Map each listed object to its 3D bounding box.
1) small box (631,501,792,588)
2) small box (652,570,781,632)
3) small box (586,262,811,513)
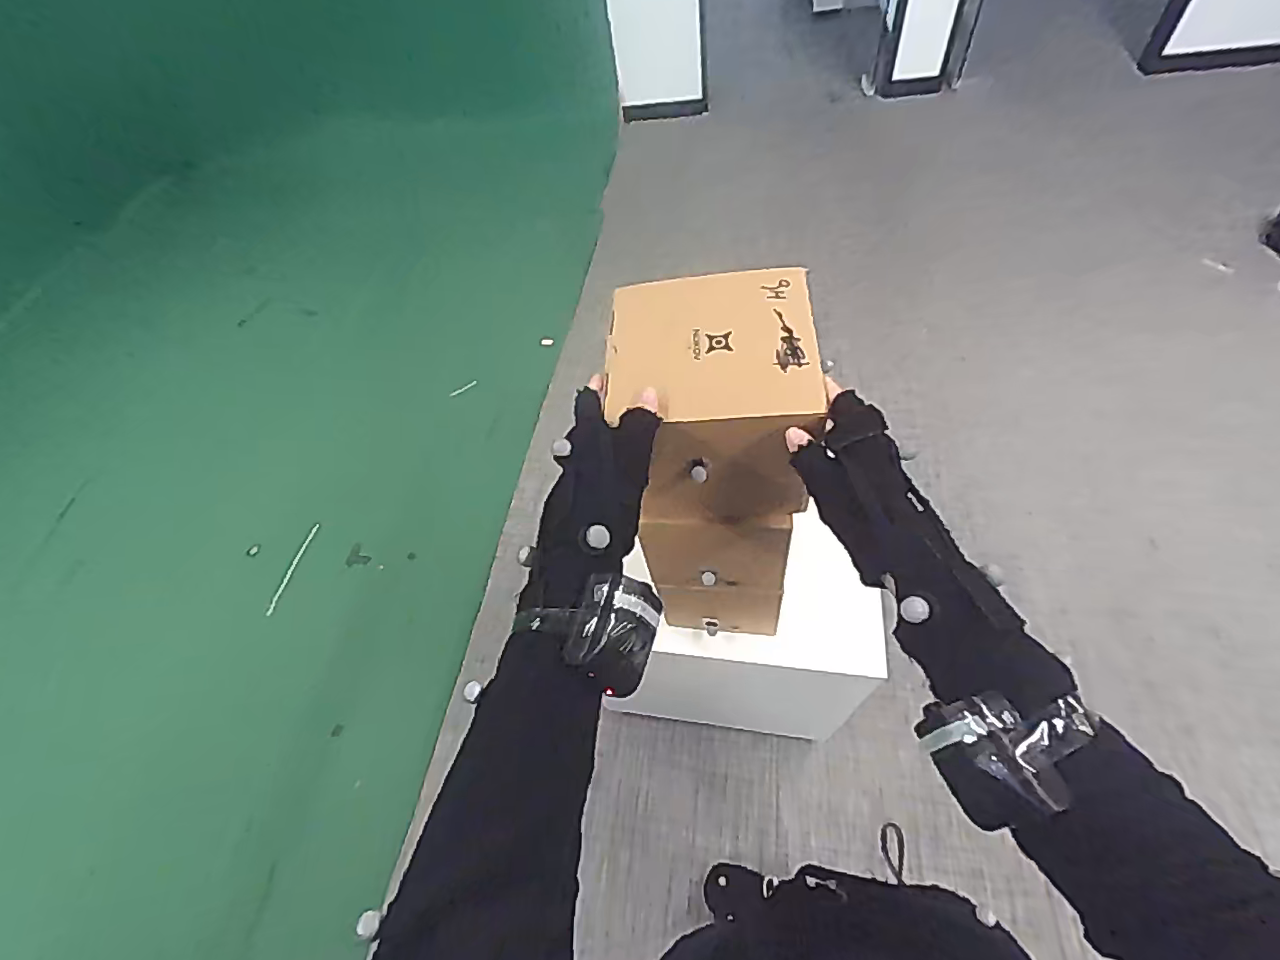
[{"bbox_3d":[0.090,0.014,0.657,0.168,0.176,0.179,-1,55,11],"label":"small box"},{"bbox_3d":[0.117,0.106,0.791,0.168,0.176,0.179,1,58,12],"label":"small box"},{"bbox_3d":[0.061,-0.076,0.518,0.179,0.176,0.168,-3,60,11],"label":"small box"}]
